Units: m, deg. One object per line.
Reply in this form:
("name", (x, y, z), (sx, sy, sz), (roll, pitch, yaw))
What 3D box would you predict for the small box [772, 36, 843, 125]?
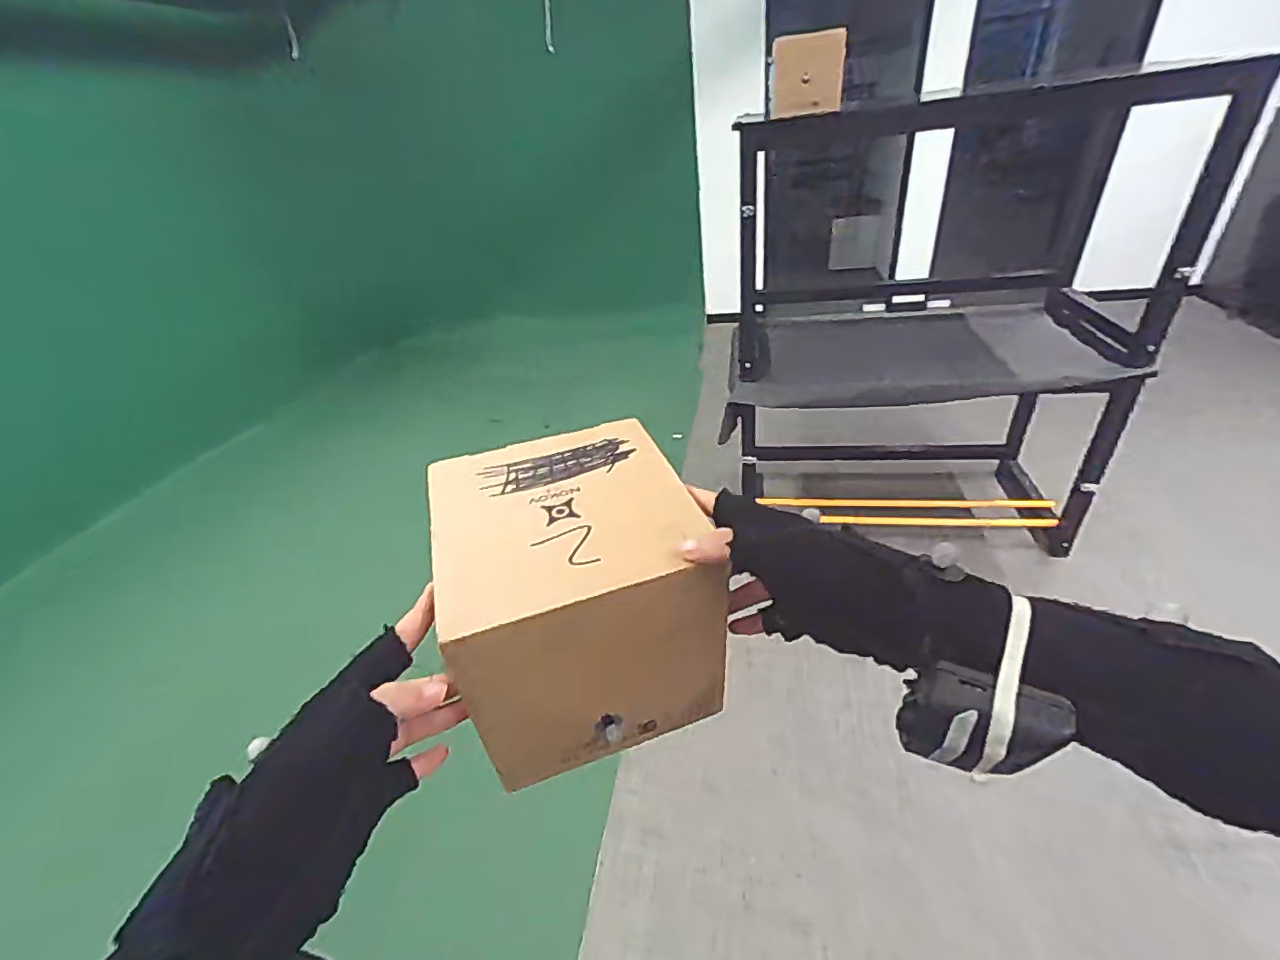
("small box", (0.439, -1.053, 1.437), (0.168, 0.176, 0.179), (1, 34, 11))
